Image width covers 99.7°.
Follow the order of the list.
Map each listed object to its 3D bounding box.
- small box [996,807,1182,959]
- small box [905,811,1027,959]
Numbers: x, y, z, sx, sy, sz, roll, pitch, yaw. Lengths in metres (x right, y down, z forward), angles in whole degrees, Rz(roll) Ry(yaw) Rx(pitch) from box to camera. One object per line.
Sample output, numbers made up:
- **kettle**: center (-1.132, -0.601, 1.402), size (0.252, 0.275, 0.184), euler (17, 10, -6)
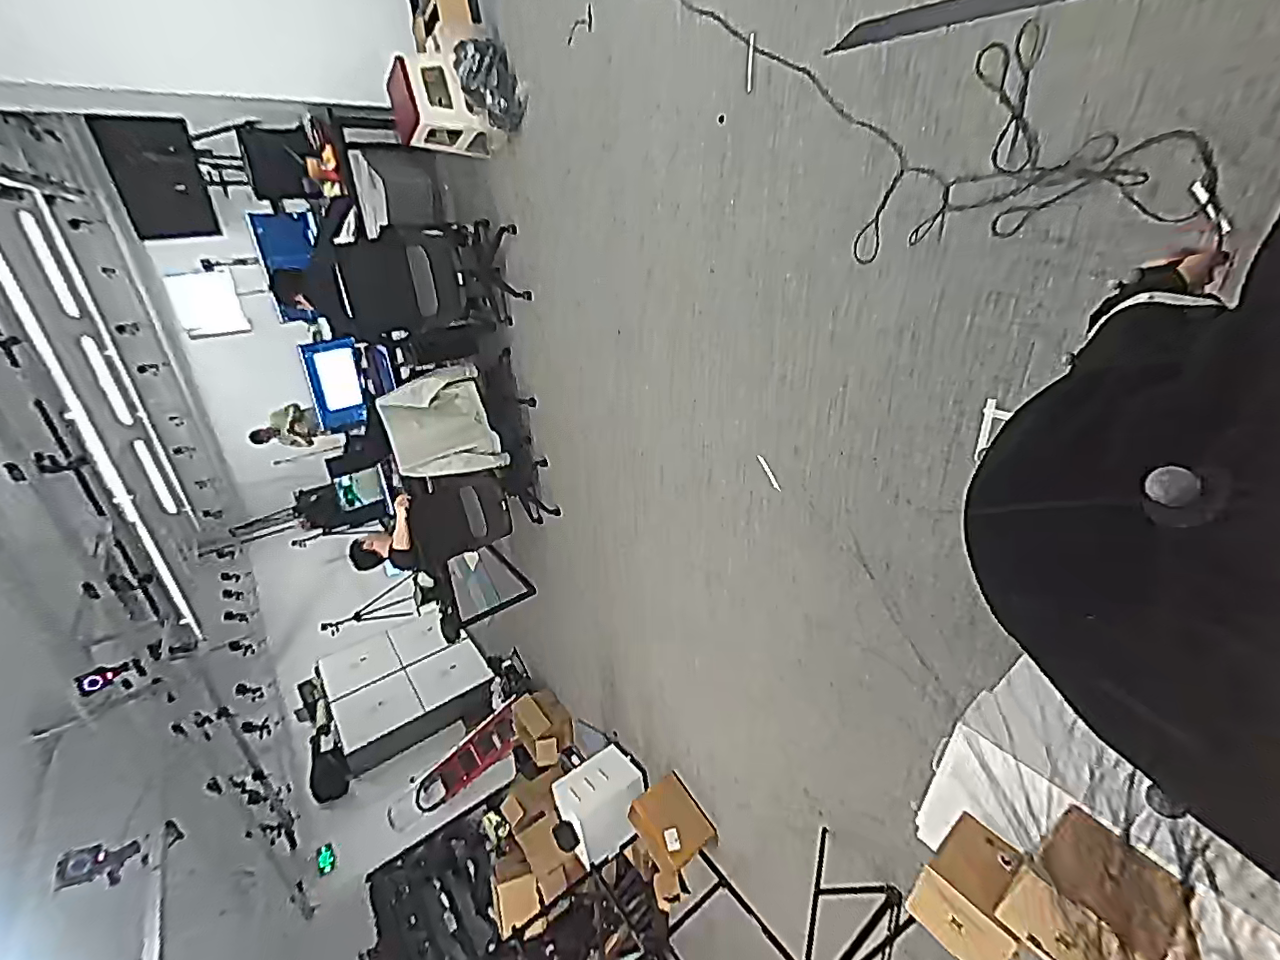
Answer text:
- **small box**: center (0.730, 0.685, 0.881), size (0.168, 0.176, 0.179), euler (34, 135, 43)
- **small box**: center (0.659, 0.808, 1.062), size (0.168, 0.176, 0.179), euler (31, 130, 43)
